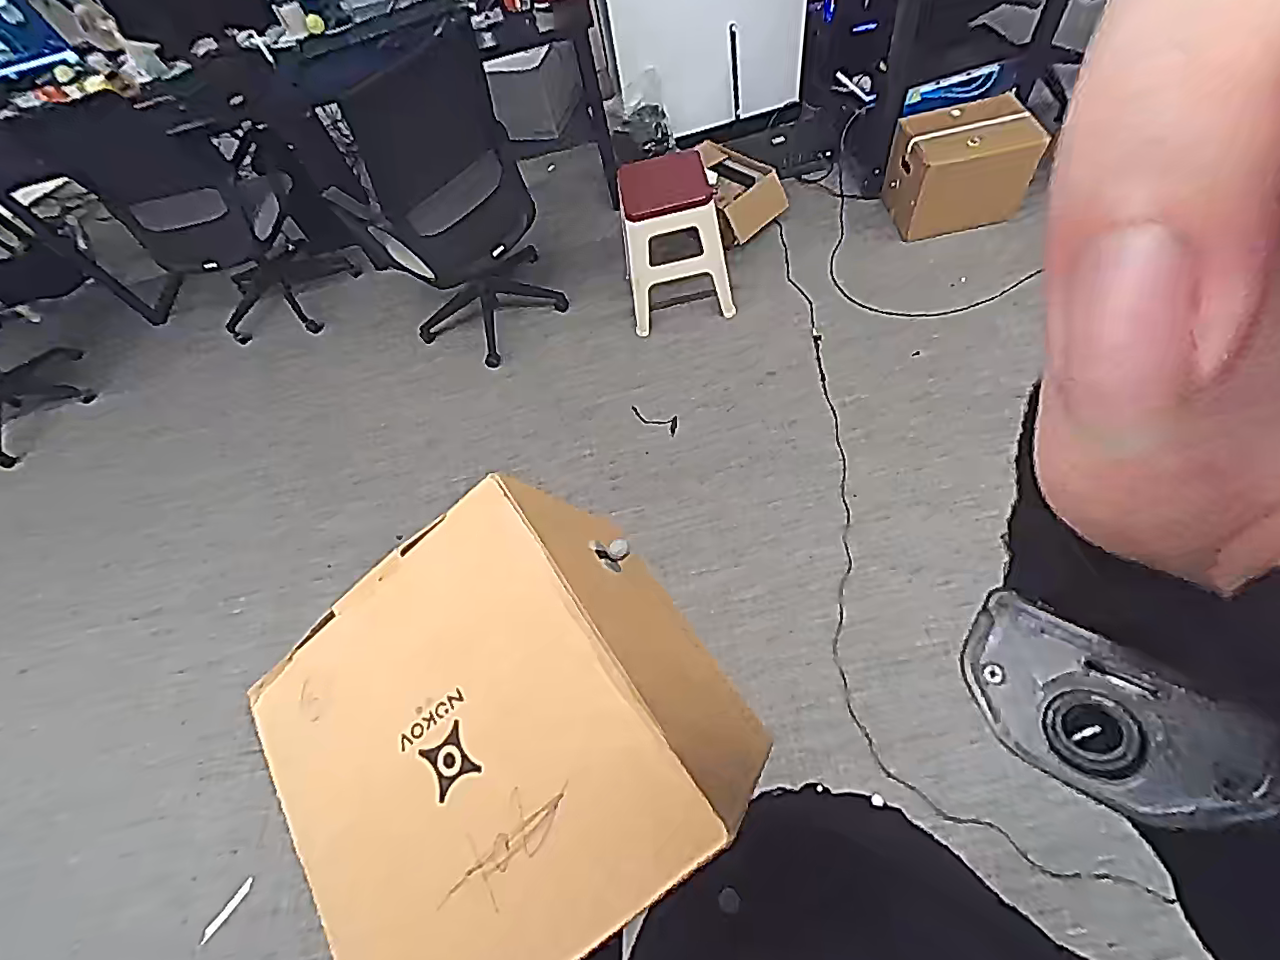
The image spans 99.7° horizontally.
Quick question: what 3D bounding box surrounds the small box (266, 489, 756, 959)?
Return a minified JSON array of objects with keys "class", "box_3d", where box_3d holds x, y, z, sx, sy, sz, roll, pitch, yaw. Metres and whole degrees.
[{"class":"small box","box_3d":[-0.055,0.136,0.308,0.168,0.176,0.179,-40,68,5]}]
